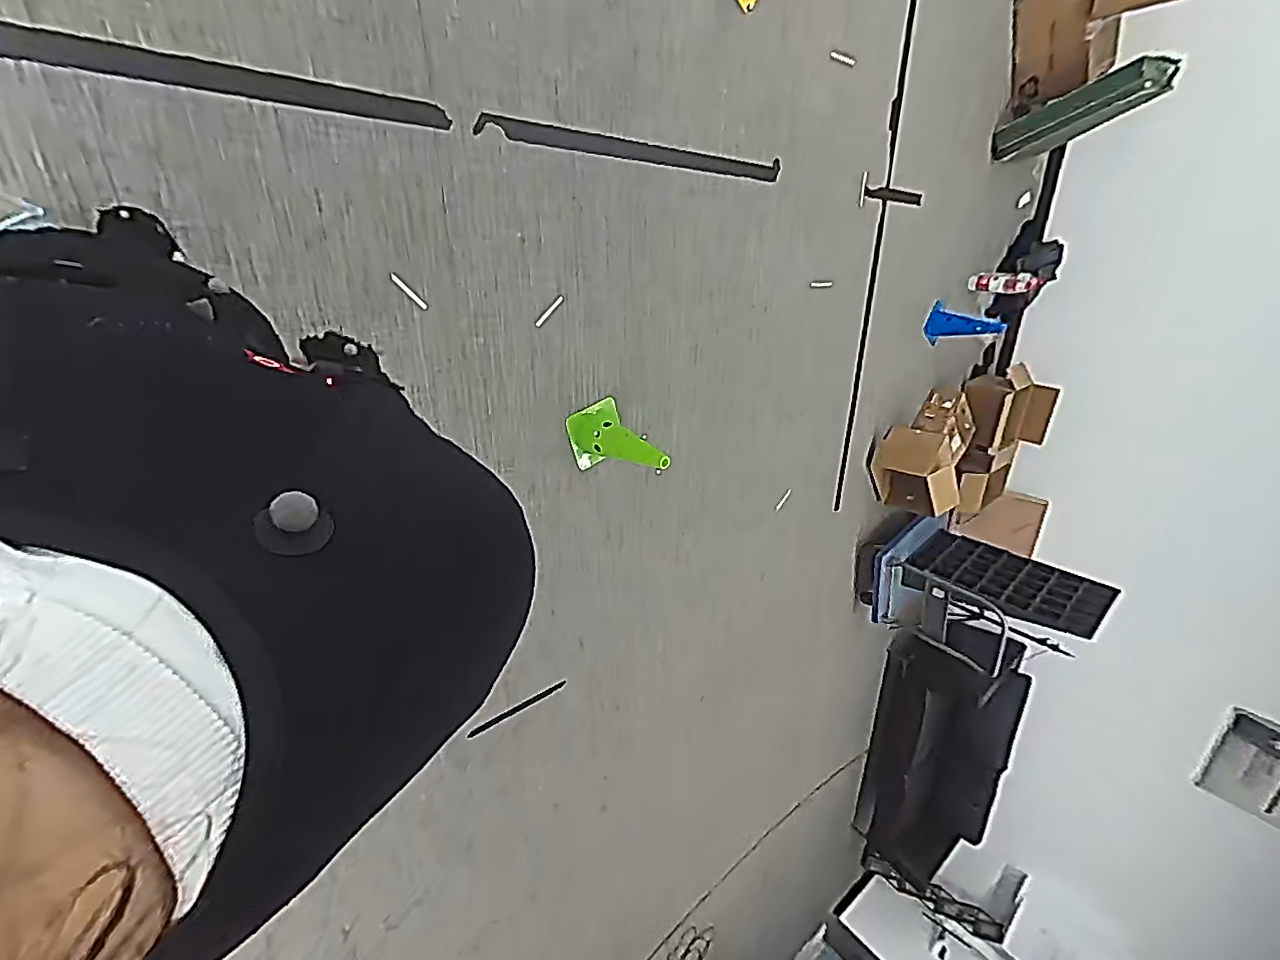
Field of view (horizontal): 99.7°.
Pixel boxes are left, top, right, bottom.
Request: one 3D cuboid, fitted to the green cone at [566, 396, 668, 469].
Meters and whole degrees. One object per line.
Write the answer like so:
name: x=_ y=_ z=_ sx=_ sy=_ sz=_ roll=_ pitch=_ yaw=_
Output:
green cone: x=-0.040 y=-0.111 z=1.686 sx=0.202 sy=0.368 sz=0.200 roll=-32 pitch=125 yaw=-26
